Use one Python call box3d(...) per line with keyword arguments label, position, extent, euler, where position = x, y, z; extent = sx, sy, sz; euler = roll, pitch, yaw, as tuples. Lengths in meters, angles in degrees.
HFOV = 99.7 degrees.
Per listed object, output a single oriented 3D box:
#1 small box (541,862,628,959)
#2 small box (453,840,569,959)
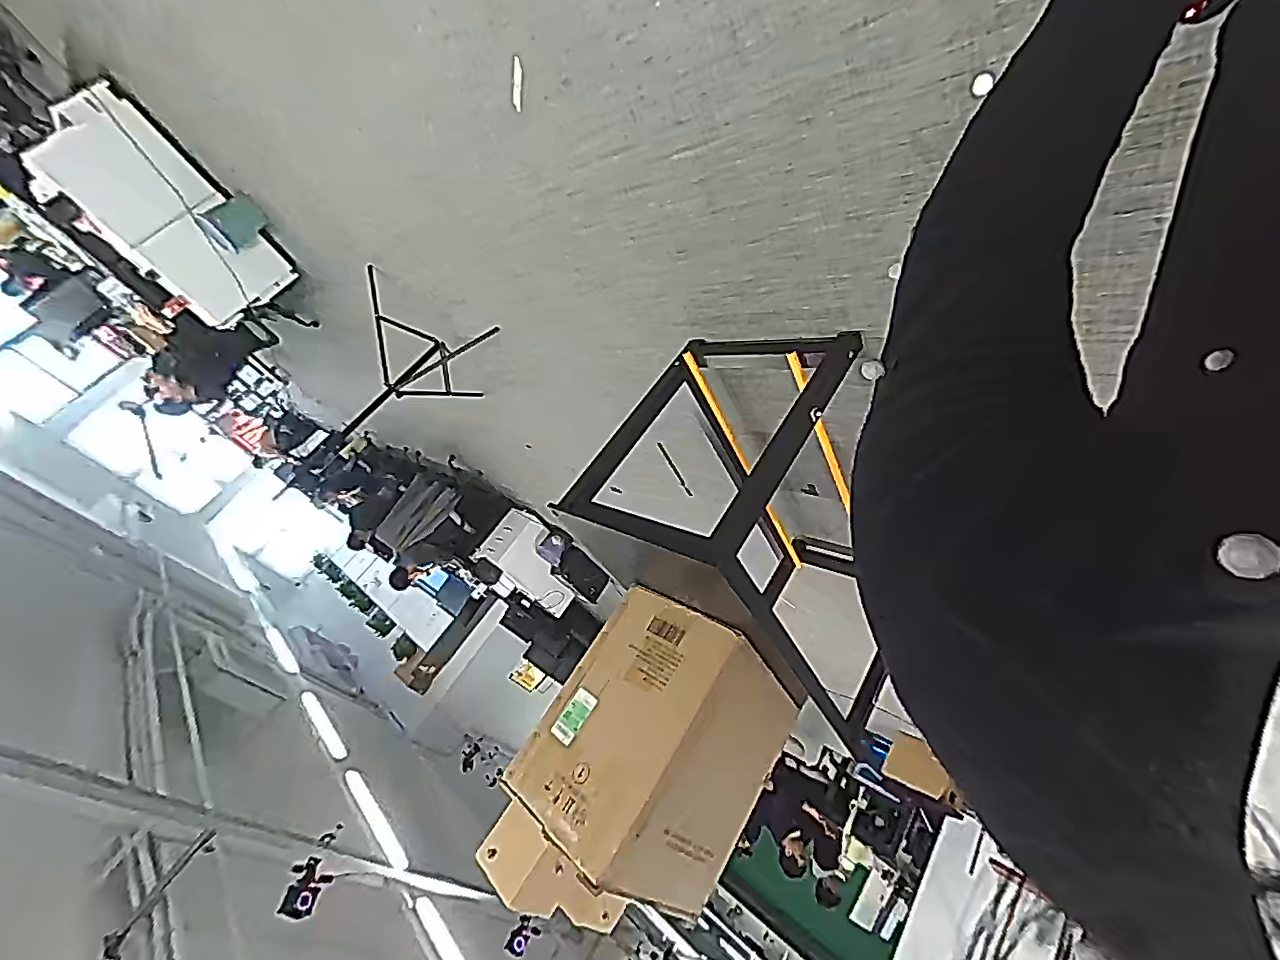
box3d(label="small box", position=(-0.162, 1.182, 1.461), extent=(0.168, 0.176, 0.179), euler=(15, 149, 45))
box3d(label="small box", position=(-0.304, 0.999, 1.294), extent=(0.179, 0.176, 0.168), euler=(15, 152, 47))
